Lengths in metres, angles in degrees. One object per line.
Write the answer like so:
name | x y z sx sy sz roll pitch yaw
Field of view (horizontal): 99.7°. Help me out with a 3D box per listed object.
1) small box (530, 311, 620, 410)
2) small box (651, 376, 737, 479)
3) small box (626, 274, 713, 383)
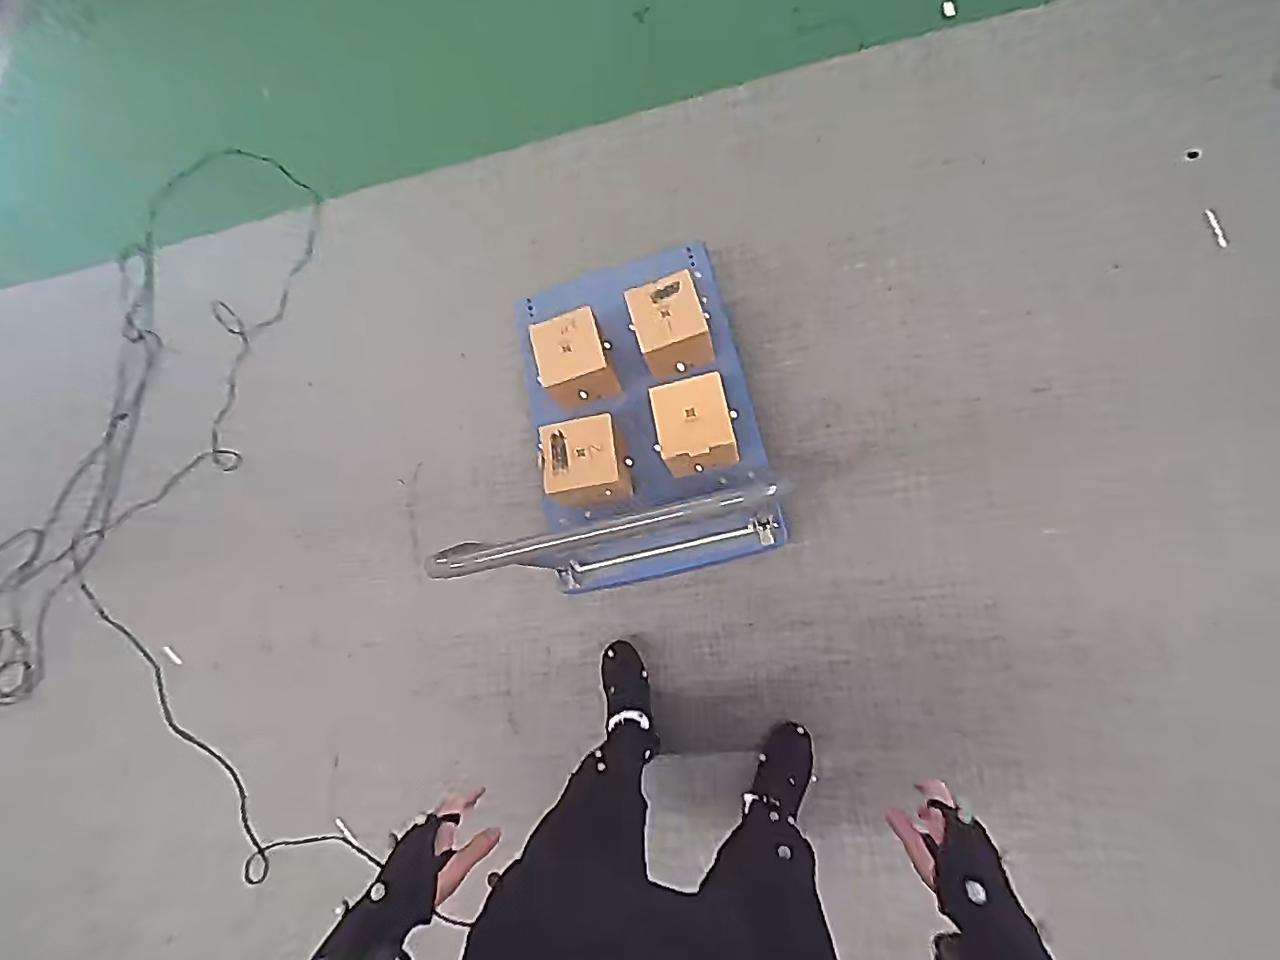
small box | -0.161 -0.296 1.386 0.168 0.176 0.179 -17 73 7
small box | 0.130 -0.117 1.278 0.168 0.176 0.179 -13 74 9
small box | 0.078 -0.372 1.352 0.168 0.176 0.179 -18 74 9
